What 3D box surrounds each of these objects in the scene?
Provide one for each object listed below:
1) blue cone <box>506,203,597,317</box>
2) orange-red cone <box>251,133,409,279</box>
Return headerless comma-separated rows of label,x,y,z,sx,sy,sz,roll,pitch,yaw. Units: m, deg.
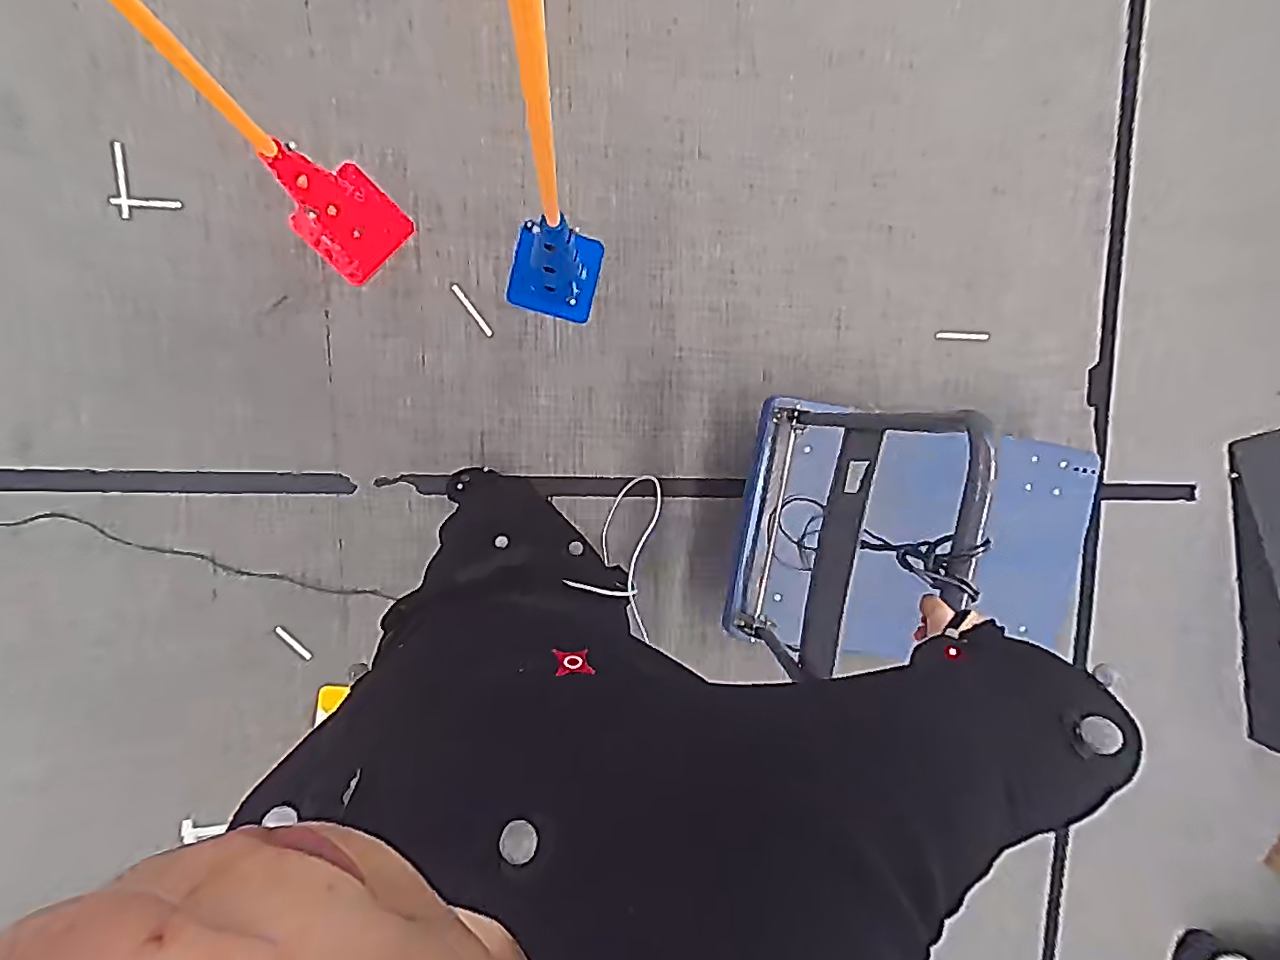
blue cone,-0.185,-0.472,1.103,0.192,0.380,0.193,15,94,-8
orange-red cone,-0.614,-0.550,1.021,0.198,0.360,0.199,-44,101,0
